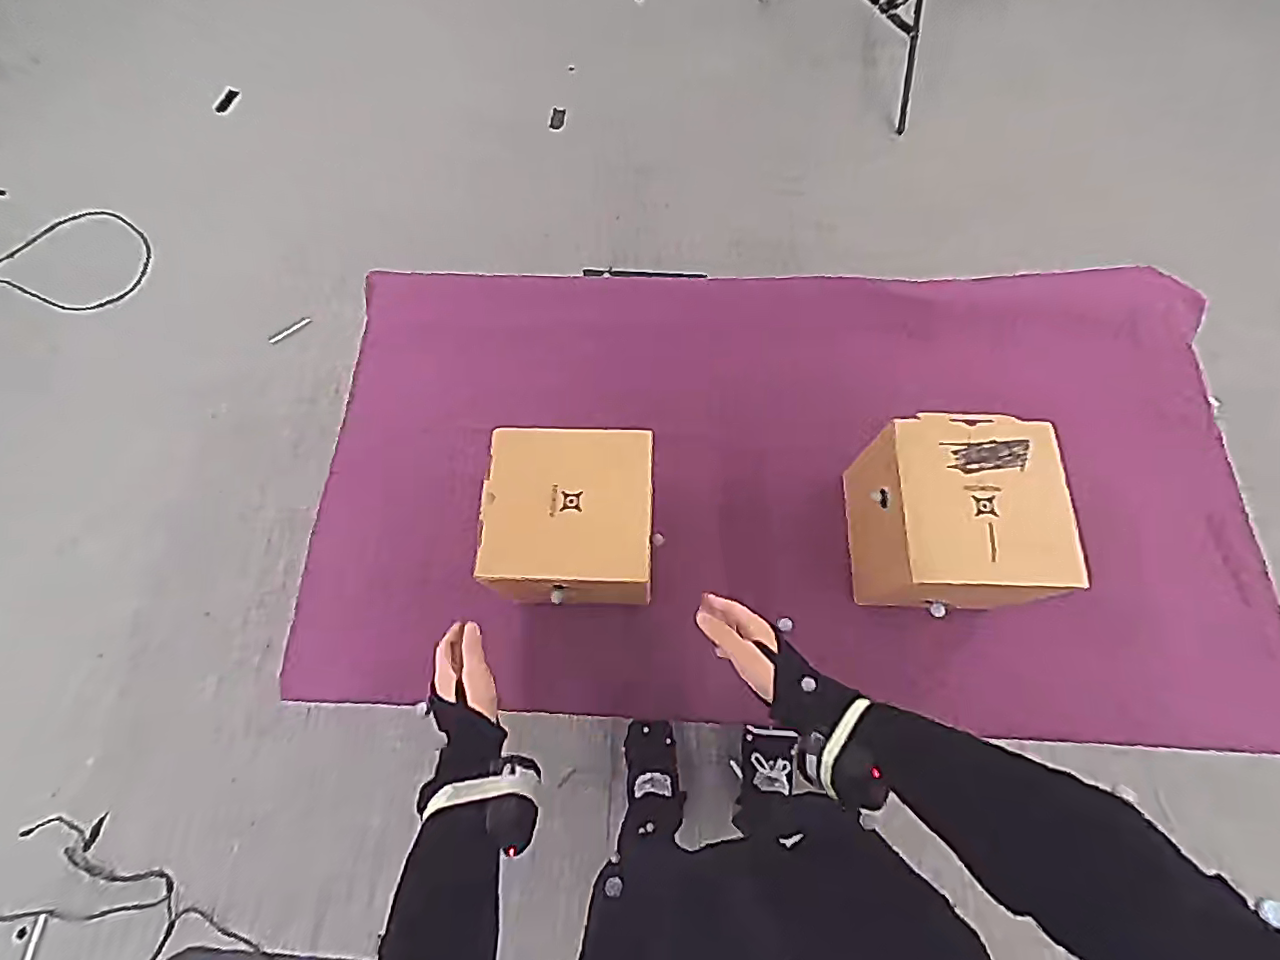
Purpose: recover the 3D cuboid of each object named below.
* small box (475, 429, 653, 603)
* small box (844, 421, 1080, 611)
[{"bbox_3d":[-0.074,0.050,0.638,0.179,0.176,0.168,1,70,3],"label":"small box"},{"bbox_3d":[0.345,0.049,0.621,0.168,0.176,0.179,2,70,3],"label":"small box"}]
